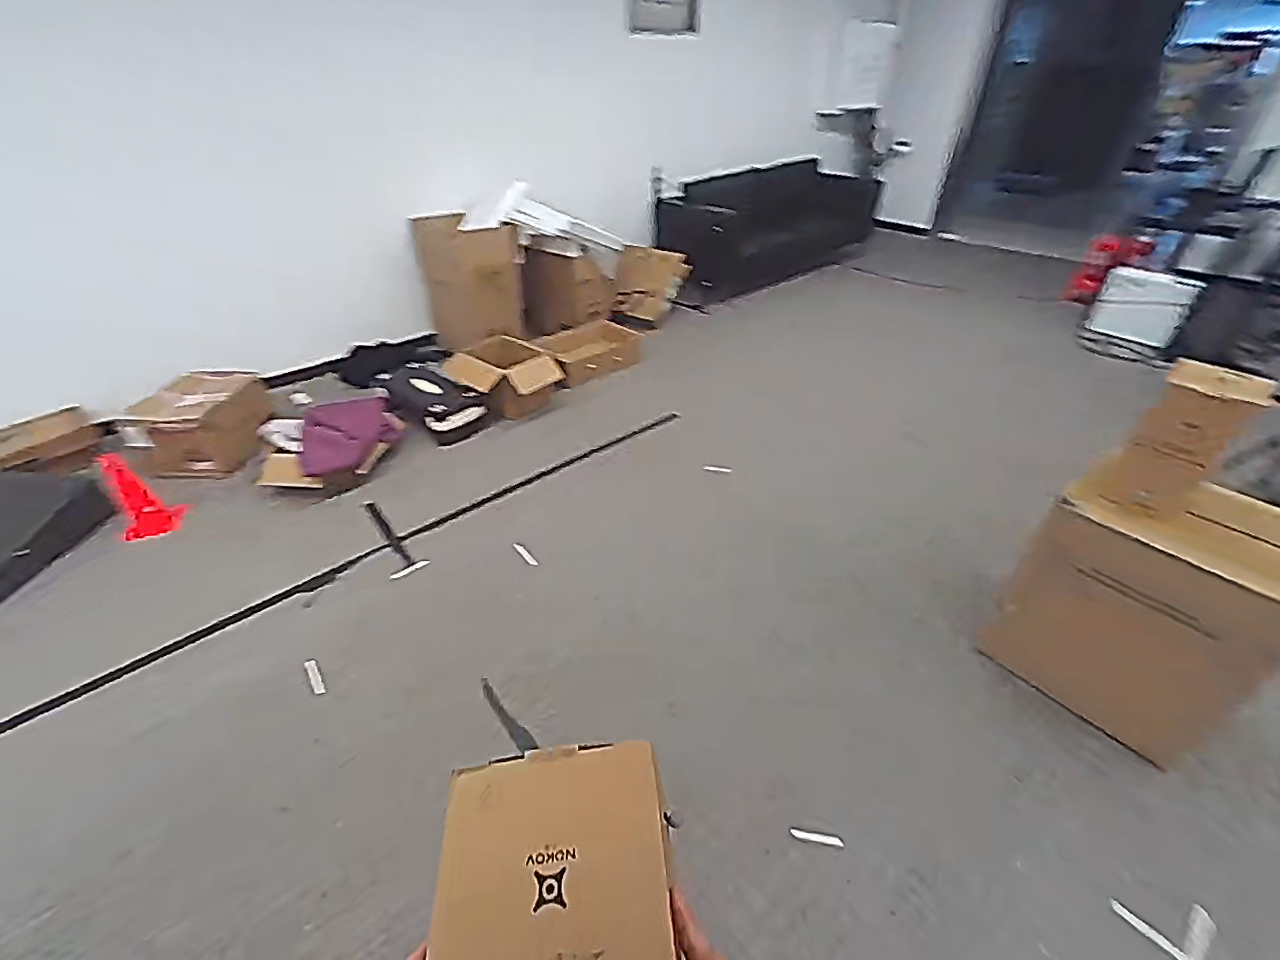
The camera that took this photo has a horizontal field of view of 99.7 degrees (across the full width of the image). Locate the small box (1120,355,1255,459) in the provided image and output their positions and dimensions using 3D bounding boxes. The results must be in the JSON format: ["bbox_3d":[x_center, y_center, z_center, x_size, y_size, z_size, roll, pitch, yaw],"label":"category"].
[{"bbox_3d":[1.303,-0.175,1.297,0.179,0.176,0.168,-31,46,-31],"label":"small box"}]

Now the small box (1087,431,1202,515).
[{"bbox_3d":[1.306,-0.043,1.394,0.179,0.176,0.168,-29,45,-31],"label":"small box"}]

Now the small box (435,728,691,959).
[{"bbox_3d":[-0.049,0.330,0.440,0.168,0.176,0.179,-8,45,1],"label":"small box"}]
